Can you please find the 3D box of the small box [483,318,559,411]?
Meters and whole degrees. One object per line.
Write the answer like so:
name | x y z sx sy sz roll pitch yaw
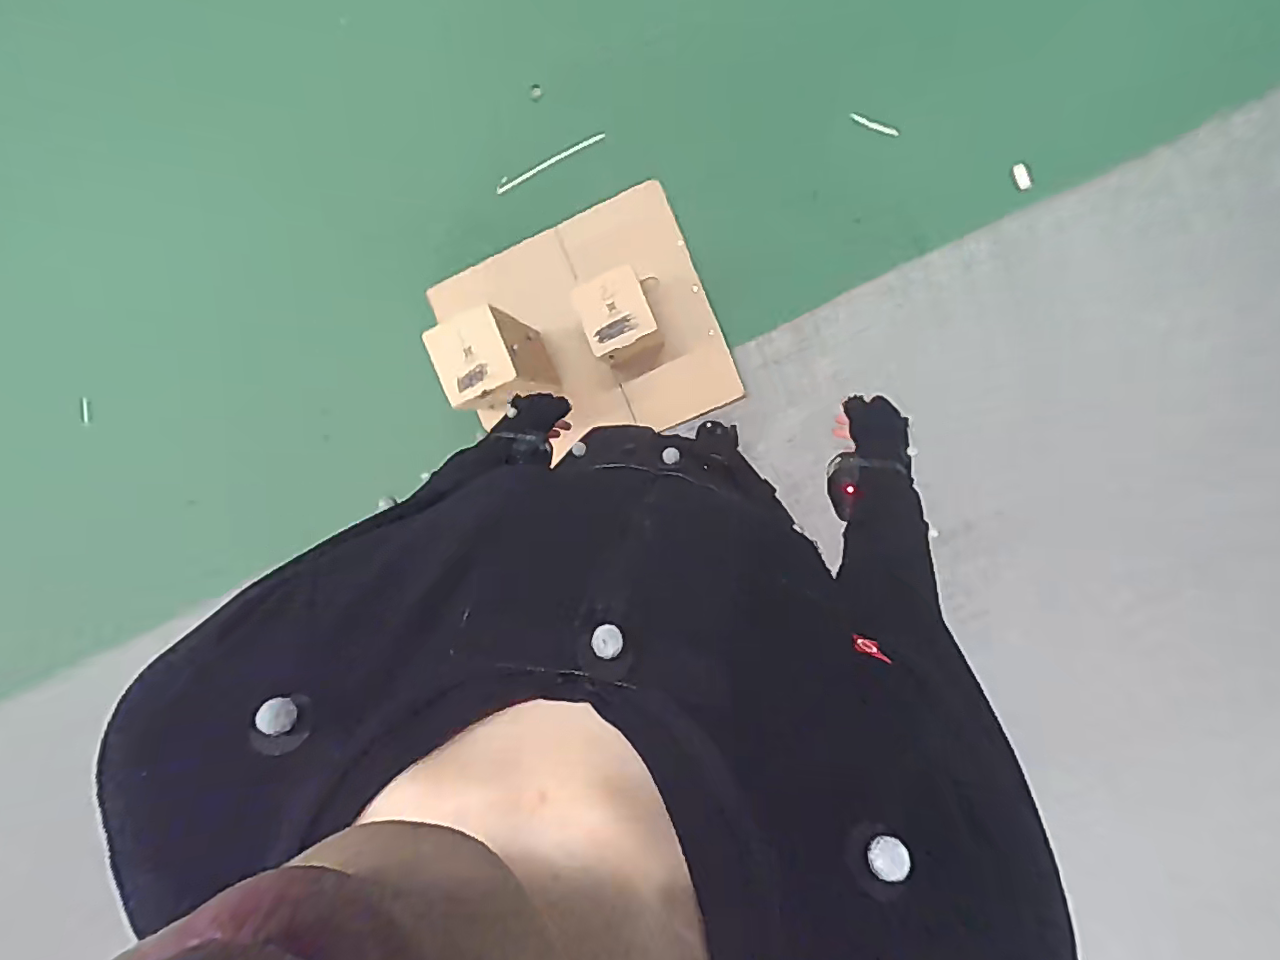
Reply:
small box | -0.330 -0.288 1.388 0.168 0.176 0.179 -24 92 10

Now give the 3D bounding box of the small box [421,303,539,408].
small box | -0.353 -0.273 1.226 0.168 0.176 0.179 -22 92 9
